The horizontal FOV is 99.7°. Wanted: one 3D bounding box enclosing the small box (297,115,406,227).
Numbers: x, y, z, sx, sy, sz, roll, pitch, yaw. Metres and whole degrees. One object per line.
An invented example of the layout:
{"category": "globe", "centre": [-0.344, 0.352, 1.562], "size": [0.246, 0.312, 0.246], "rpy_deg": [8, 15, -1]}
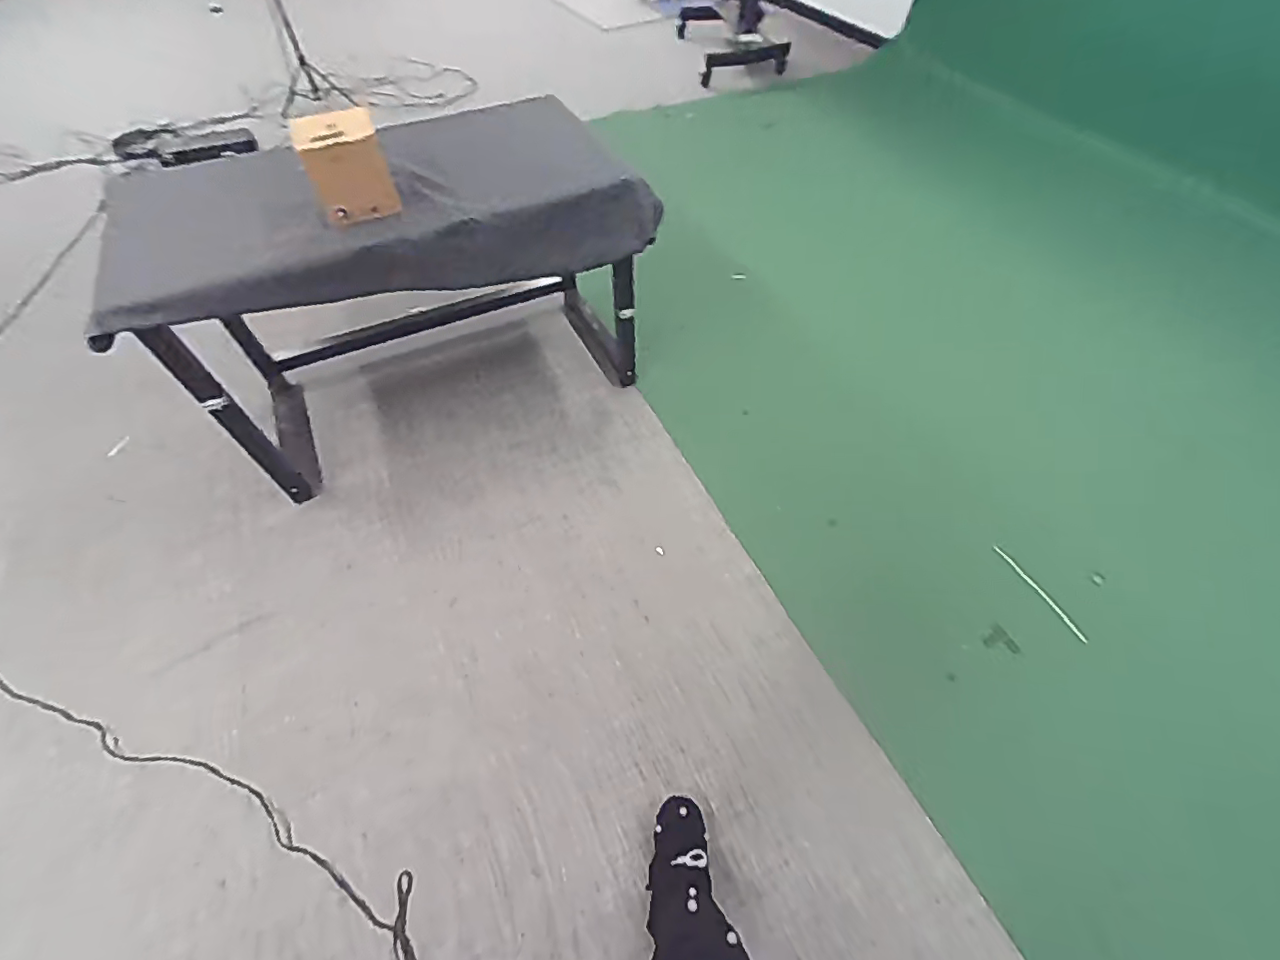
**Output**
{"category": "small box", "centre": [-0.664, -0.710, 1.254], "size": [0.168, 0.176, 0.179], "rpy_deg": [-21, 55, -14]}
